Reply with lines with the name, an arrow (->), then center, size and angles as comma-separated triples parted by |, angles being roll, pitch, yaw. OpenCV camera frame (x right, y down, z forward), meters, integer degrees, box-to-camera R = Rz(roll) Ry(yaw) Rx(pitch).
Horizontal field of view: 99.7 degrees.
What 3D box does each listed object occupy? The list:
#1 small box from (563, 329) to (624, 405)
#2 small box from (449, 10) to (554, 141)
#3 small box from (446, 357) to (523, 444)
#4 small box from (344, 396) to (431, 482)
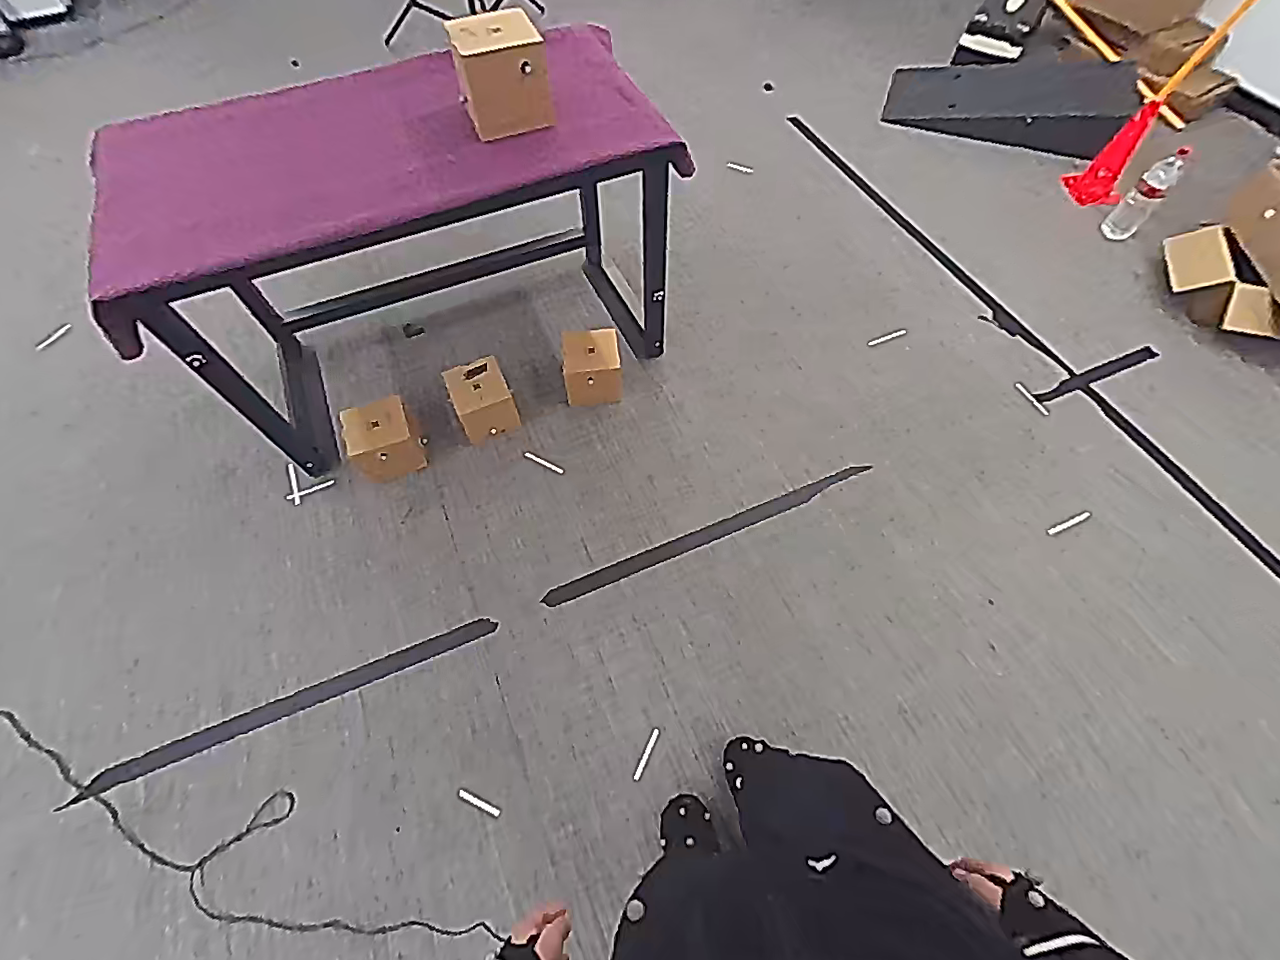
small box -> -0.145, -0.358, 1.738 | 0.179, 0.176, 0.168 | -7, 62, -2
small box -> -0.298, -0.891, 1.197 | 0.179, 0.176, 0.168 | -20, 62, -9
small box -> -0.478, -0.243, 1.678 | 0.168, 0.176, 0.179 | -22, 64, -11
small box -> -0.750, -0.118, 1.615 | 0.179, 0.176, 0.168 | -19, 64, -10
